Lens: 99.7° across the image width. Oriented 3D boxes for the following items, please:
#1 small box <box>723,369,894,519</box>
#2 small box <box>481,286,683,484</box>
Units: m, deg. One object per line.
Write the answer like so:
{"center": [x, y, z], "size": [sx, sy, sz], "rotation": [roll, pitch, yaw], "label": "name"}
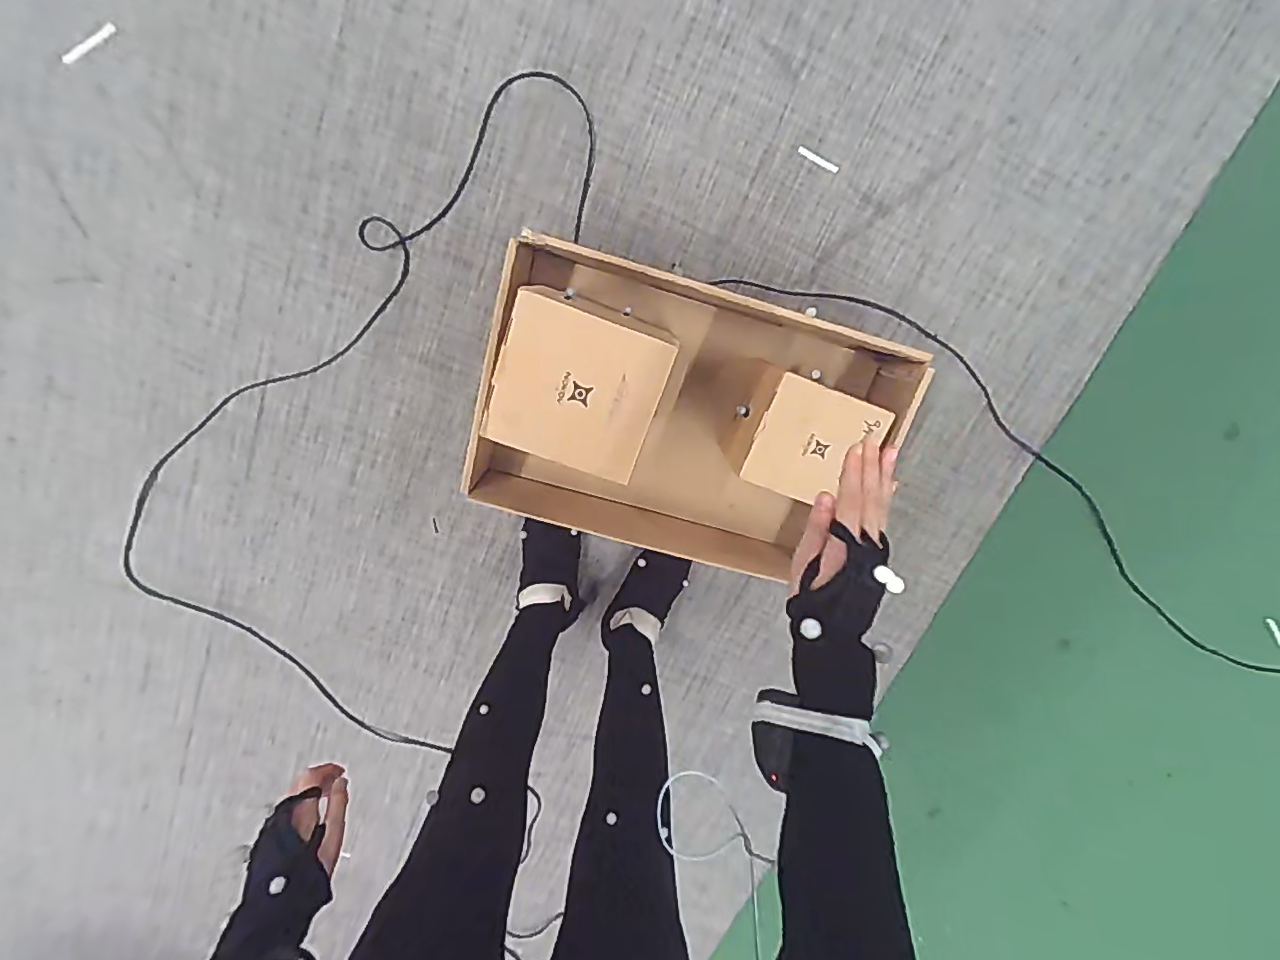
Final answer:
{"center": [0.246, -0.066, 0.845], "size": [0.179, 0.176, 0.168], "rotation": [21, 106, -7], "label": "small box"}
{"center": [-0.066, -0.119, 0.651], "size": [0.179, 0.176, 0.168], "rotation": [20, 108, -8], "label": "small box"}
